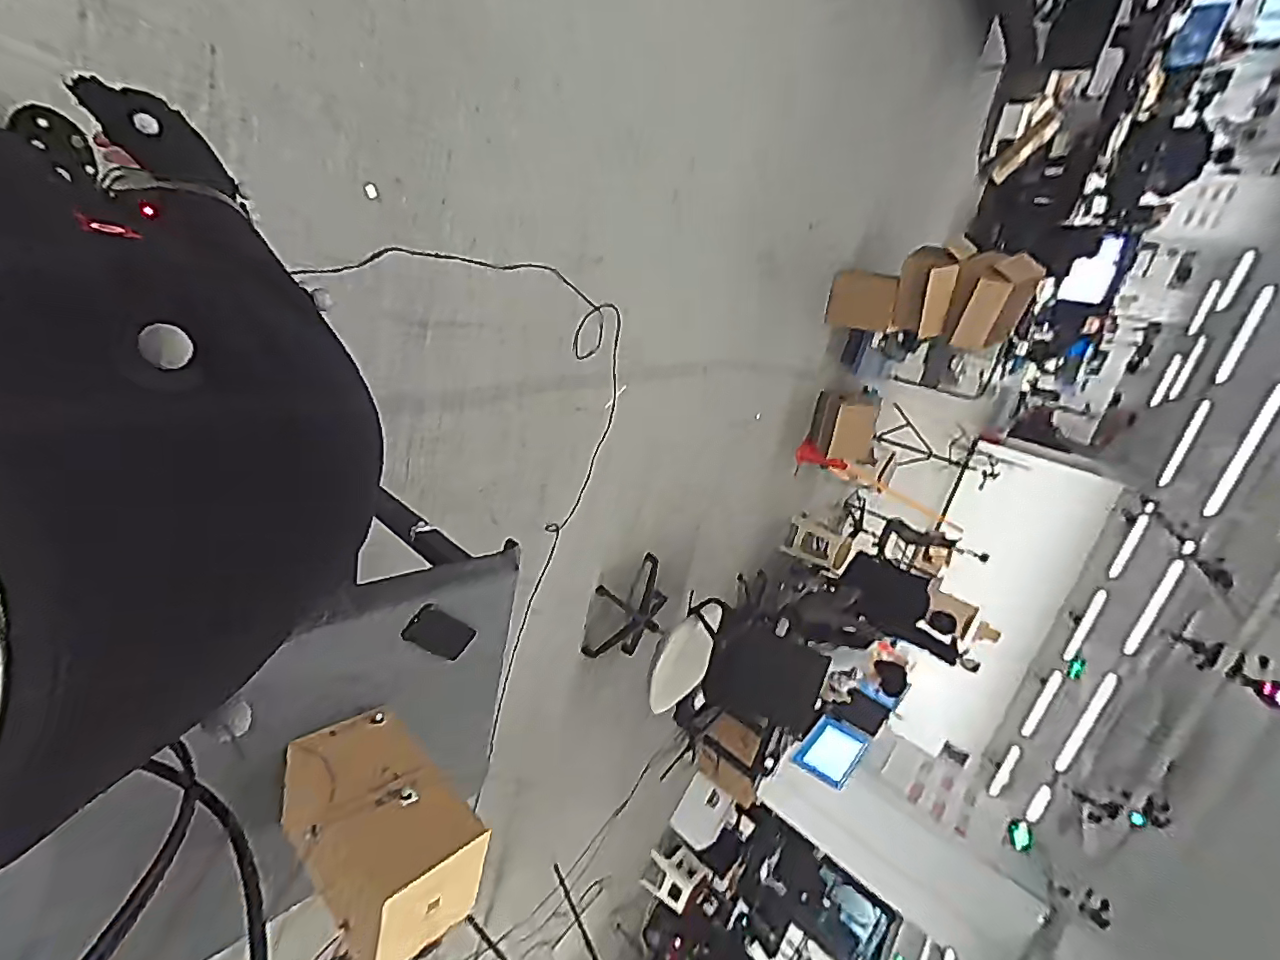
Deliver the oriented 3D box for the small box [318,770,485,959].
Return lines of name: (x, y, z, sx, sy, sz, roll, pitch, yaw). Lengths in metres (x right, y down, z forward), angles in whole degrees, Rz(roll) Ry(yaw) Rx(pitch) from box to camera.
small box: (-0.362, 0.587, 0.812, 0.168, 0.176, 0.179, -8, 116, -52)

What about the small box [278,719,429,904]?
small box: (-0.483, 0.533, 0.906, 0.168, 0.176, 0.179, -6, 116, -51)
